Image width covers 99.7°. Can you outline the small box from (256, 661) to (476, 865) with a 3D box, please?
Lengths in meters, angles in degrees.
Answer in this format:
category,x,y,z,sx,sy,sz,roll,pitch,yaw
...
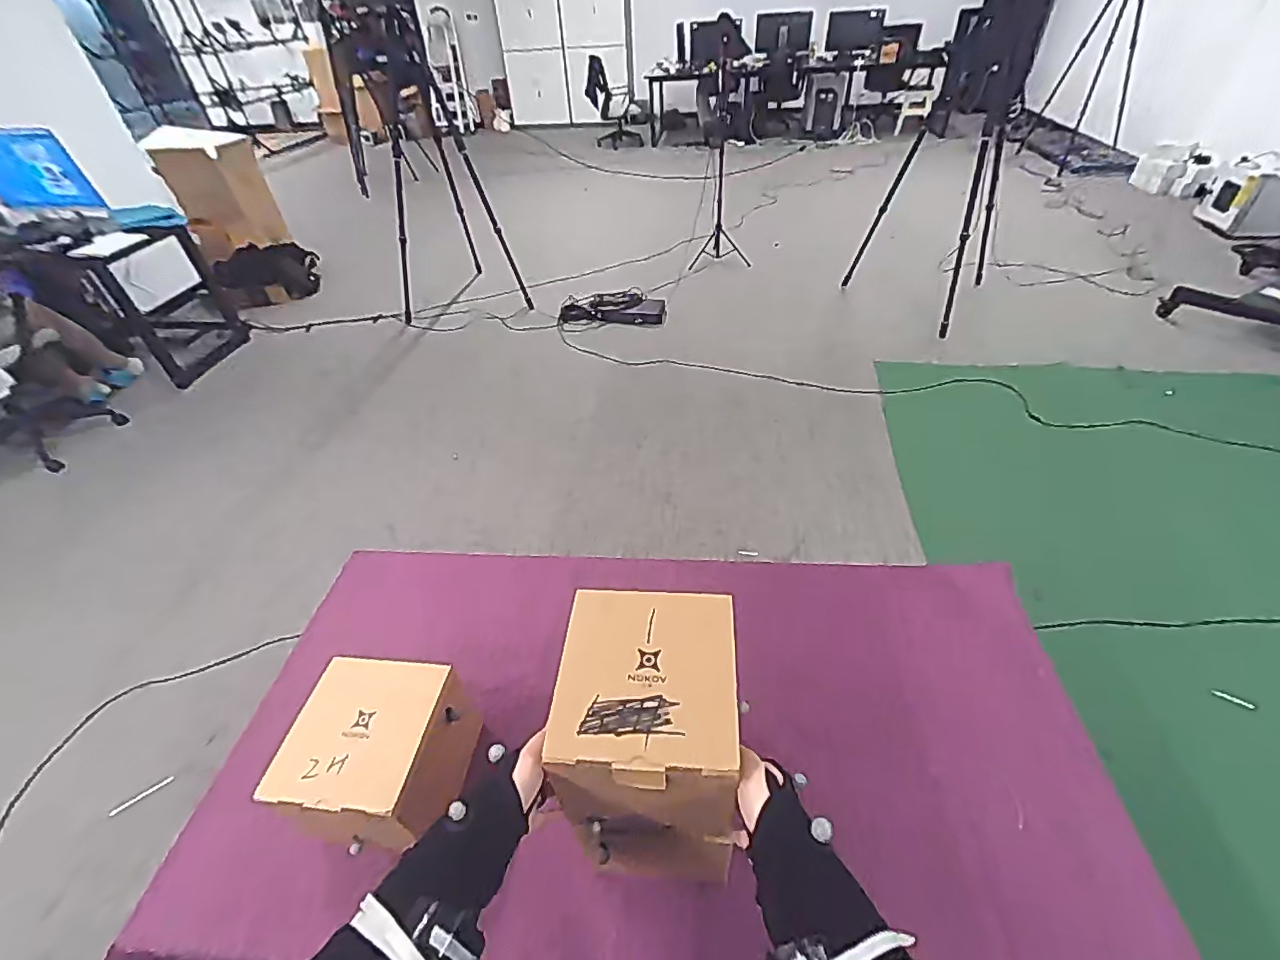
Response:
category,x,y,z,sx,sy,sz,roll,pitch,yaw
small box,-0.327,0.360,0.693,0.168,0.176,0.179,2,42,7

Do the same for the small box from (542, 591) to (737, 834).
category,x,y,z,sx,sy,sz,roll,pitch,yaw
small box,0.011,0.237,0.553,0.168,0.176,0.179,1,40,6
